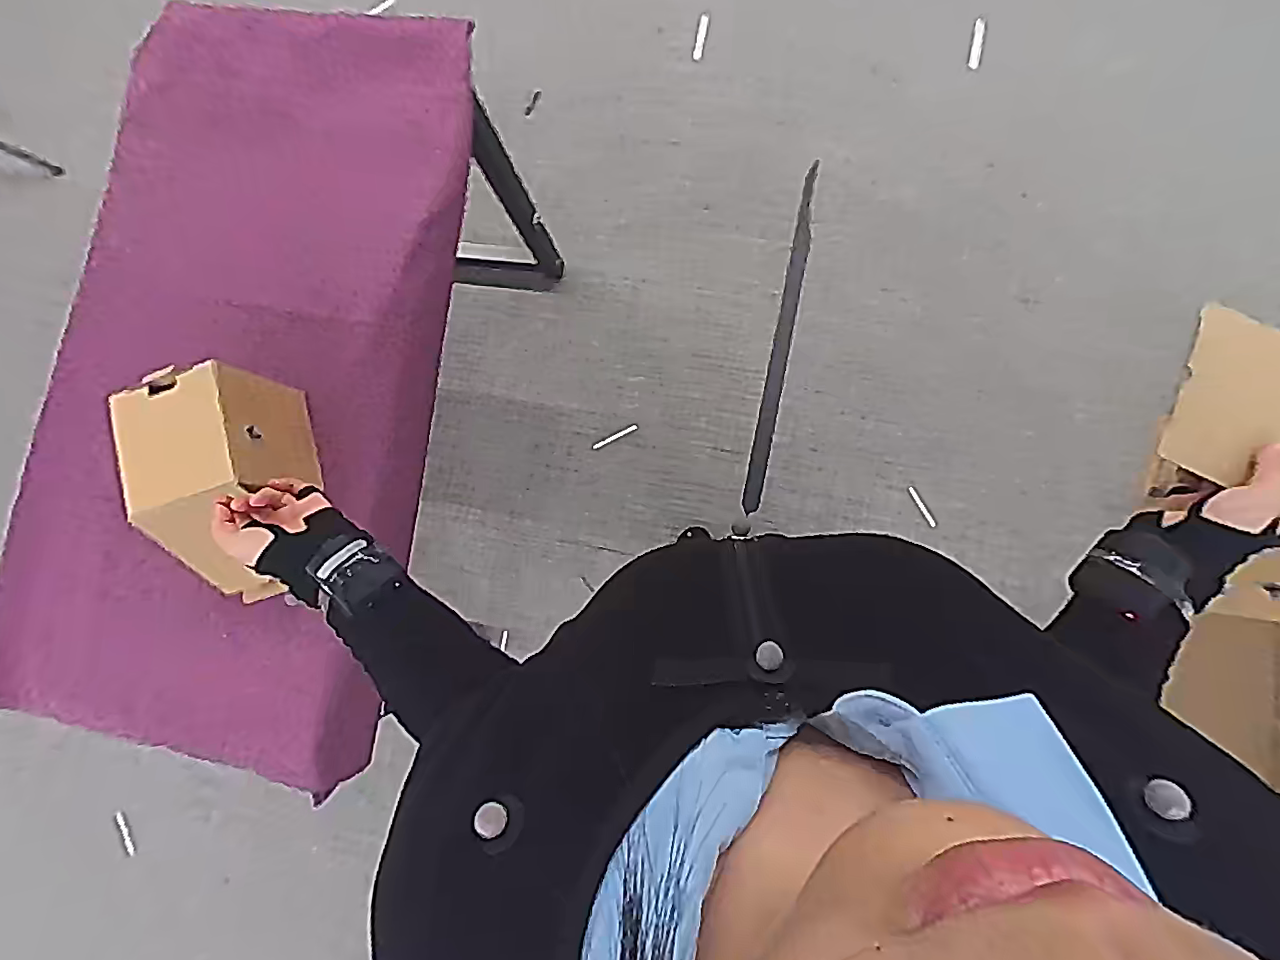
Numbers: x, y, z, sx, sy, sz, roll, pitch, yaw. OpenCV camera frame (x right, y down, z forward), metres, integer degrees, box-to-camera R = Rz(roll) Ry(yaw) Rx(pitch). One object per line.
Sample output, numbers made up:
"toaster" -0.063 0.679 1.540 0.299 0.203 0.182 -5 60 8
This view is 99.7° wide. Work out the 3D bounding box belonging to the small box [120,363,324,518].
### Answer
"small box" -0.605 -0.046 0.803 0.168 0.176 0.179 -17 81 5
